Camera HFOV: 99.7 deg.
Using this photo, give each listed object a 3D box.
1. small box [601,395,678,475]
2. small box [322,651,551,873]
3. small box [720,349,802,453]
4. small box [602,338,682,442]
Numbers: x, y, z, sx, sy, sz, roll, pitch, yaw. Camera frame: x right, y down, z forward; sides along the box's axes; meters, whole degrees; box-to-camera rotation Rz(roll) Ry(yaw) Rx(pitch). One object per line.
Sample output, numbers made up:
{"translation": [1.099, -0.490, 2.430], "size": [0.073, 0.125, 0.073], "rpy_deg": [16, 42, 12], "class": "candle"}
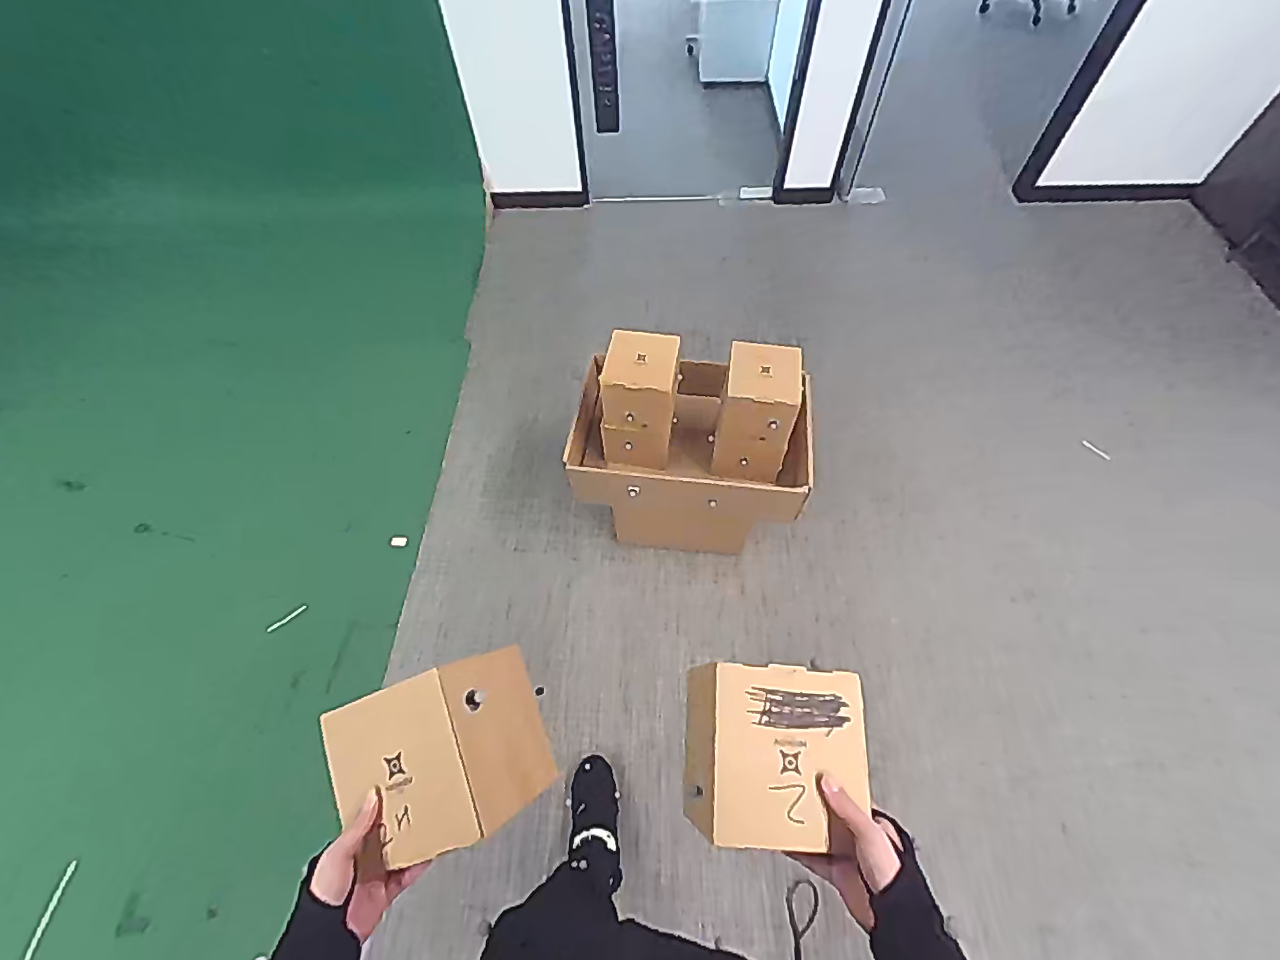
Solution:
{"translation": [0.004, -0.129, 1.469], "size": [0.179, 0.176, 0.168], "rpy_deg": [8, 58, 8], "class": "small box"}
{"translation": [-0.231, 0.313, 0.641], "size": [0.168, 0.176, 0.179], "rpy_deg": [-25, 74, 13], "class": "small box"}
{"translation": [0.287, -0.186, 1.301], "size": [0.168, 0.176, 0.179], "rpy_deg": [8, 56, 5], "class": "small box"}
{"translation": [0.006, -0.220, 1.334], "size": [0.168, 0.176, 0.179], "rpy_deg": [8, 58, 6], "class": "small box"}
